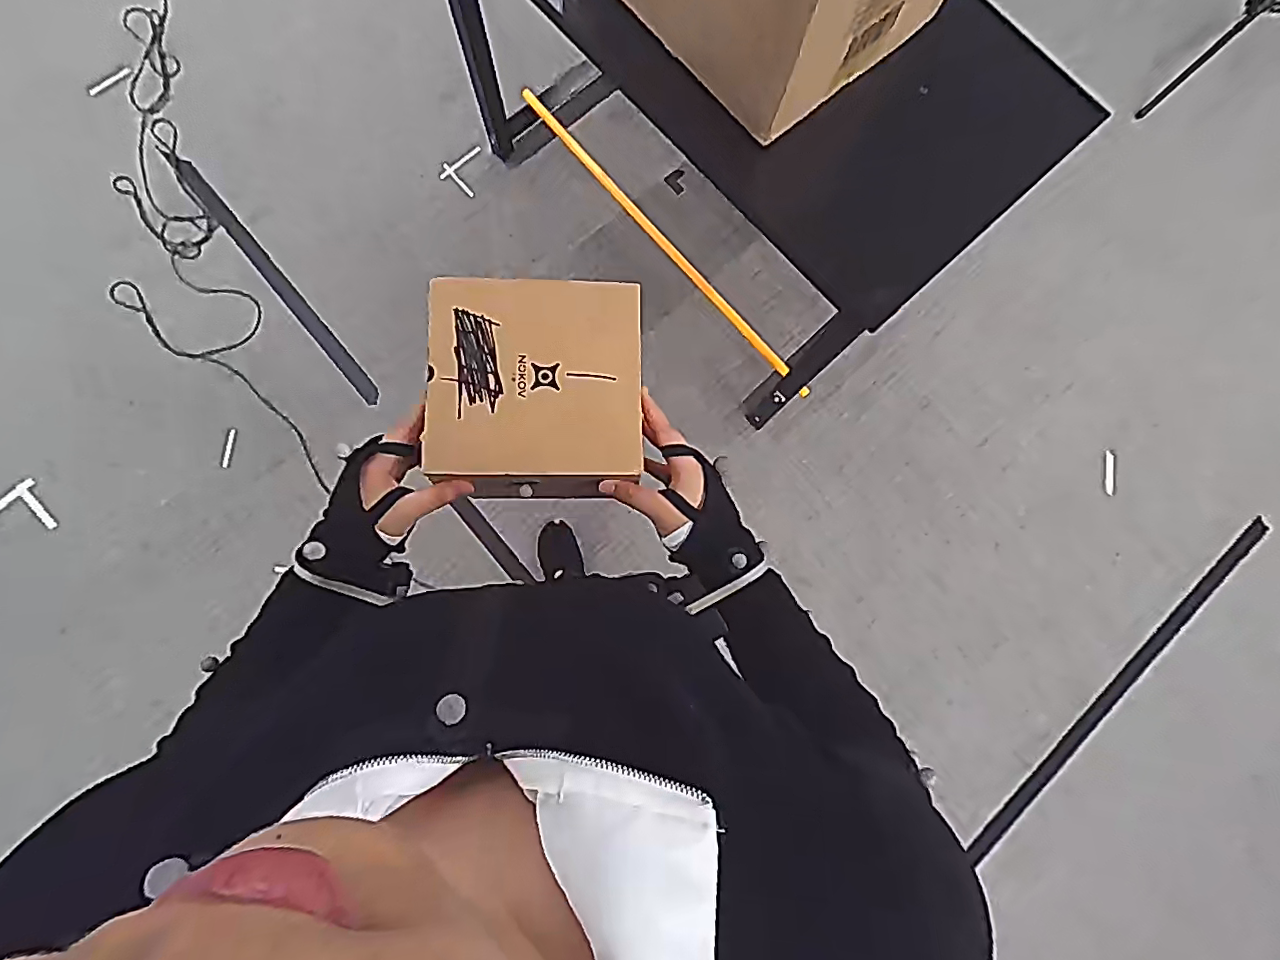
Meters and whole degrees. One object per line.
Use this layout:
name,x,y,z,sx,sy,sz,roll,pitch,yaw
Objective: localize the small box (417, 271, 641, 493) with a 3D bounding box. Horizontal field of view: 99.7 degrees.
small box,-0.091,-0.077,0.511,0.179,0.176,0.168,0,83,-5
